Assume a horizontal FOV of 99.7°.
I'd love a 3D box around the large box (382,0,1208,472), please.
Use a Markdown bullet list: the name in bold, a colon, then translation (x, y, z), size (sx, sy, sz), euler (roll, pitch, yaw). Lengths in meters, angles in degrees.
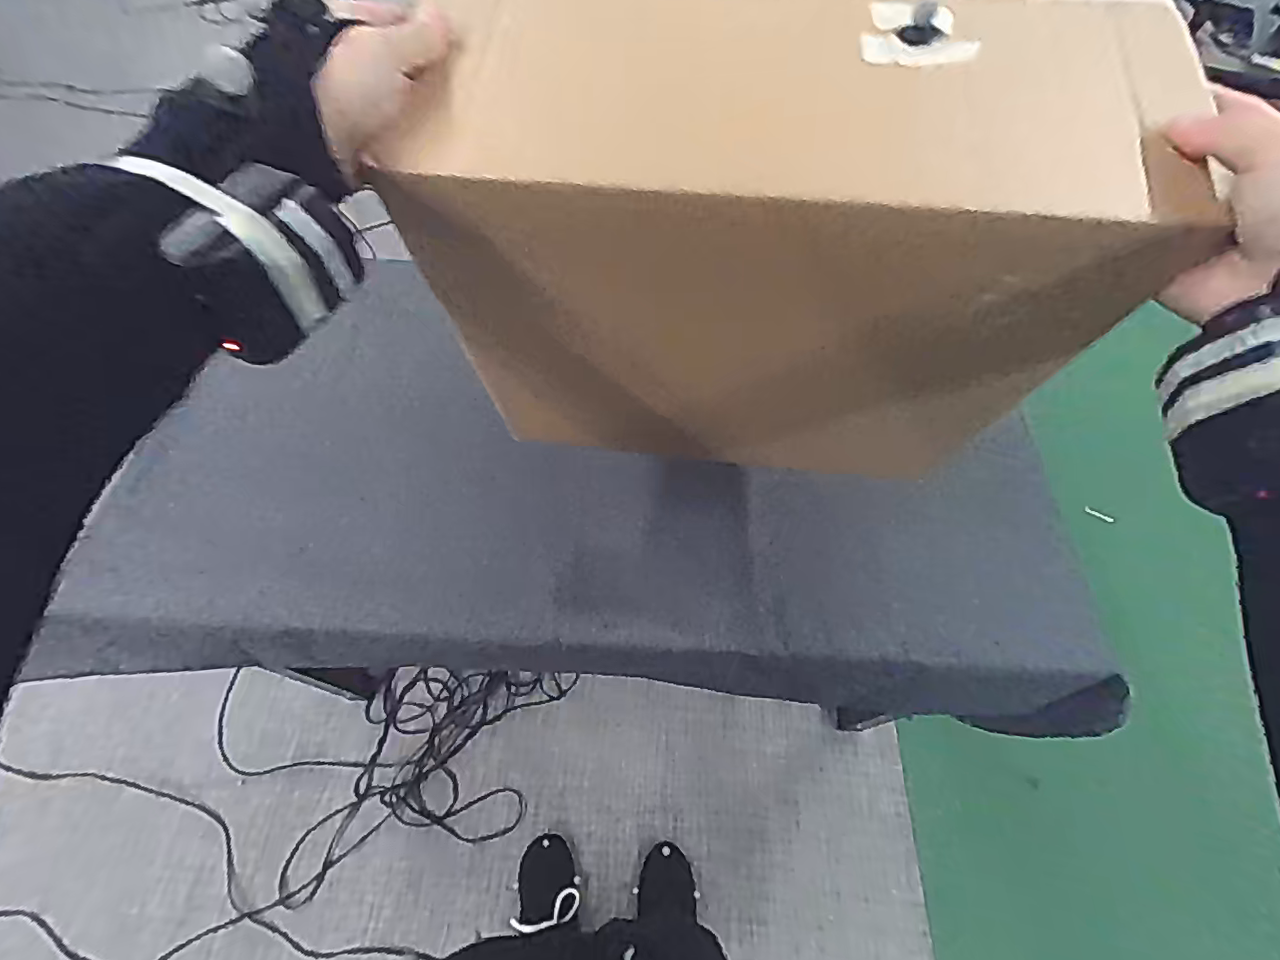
- **large box**: translation (0.081, -0.216, 0.450), size (0.408, 0.320, 0.320), euler (6, 69, 2)
